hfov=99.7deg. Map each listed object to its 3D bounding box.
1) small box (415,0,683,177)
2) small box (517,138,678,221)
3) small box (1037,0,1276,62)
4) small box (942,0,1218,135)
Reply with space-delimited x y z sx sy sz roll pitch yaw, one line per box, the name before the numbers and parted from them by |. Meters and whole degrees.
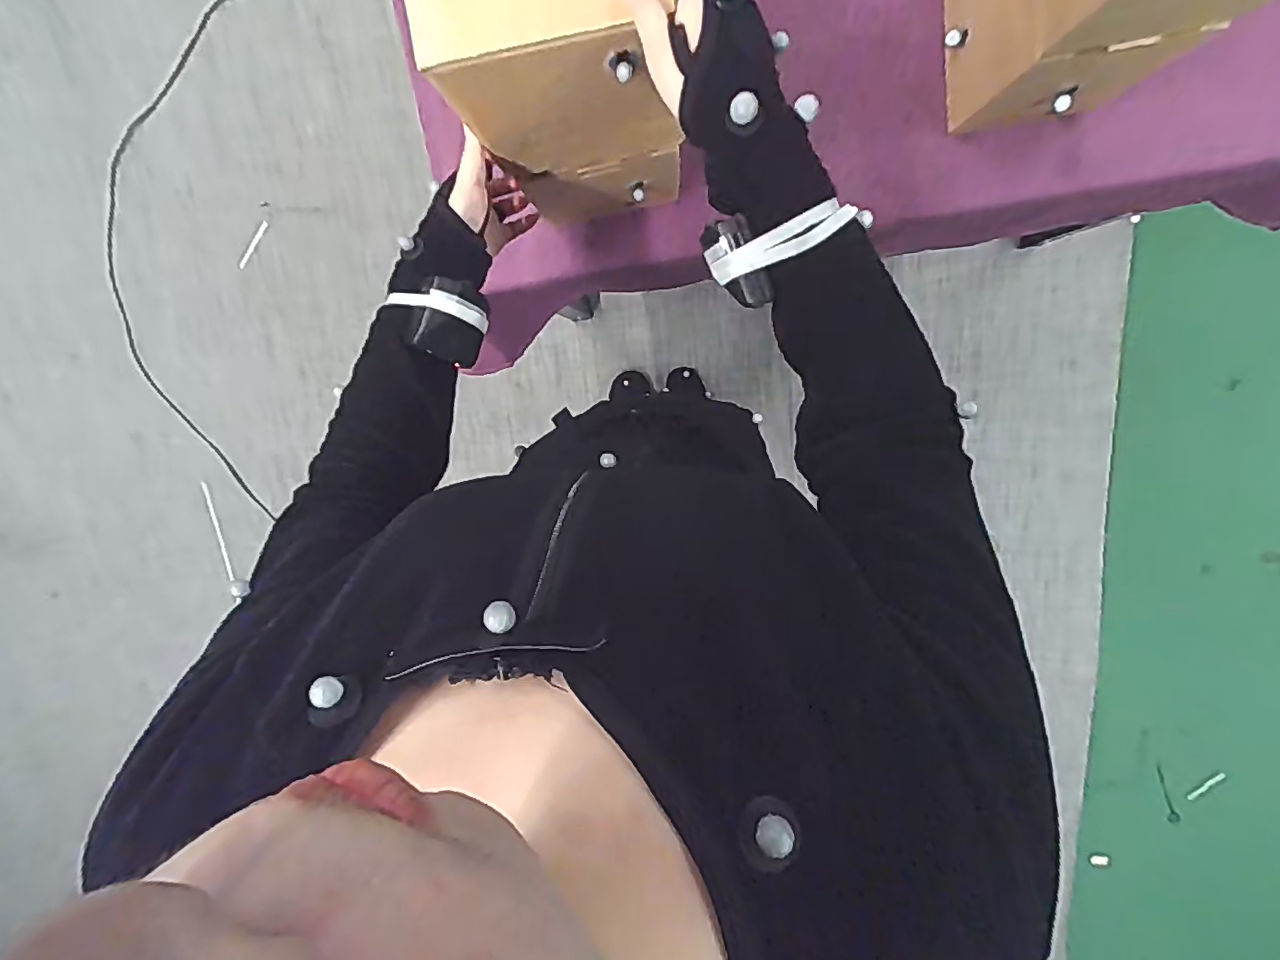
small box | -0.062 -0.367 0.425 0.179 0.176 0.168 -8 96 5
small box | -0.050 -0.402 0.596 0.168 0.176 0.179 -9 101 4
small box | 0.426 -0.445 0.391 0.179 0.176 0.168 -8 102 5
small box | 0.432 -0.481 0.552 0.168 0.176 0.179 -7 102 4
